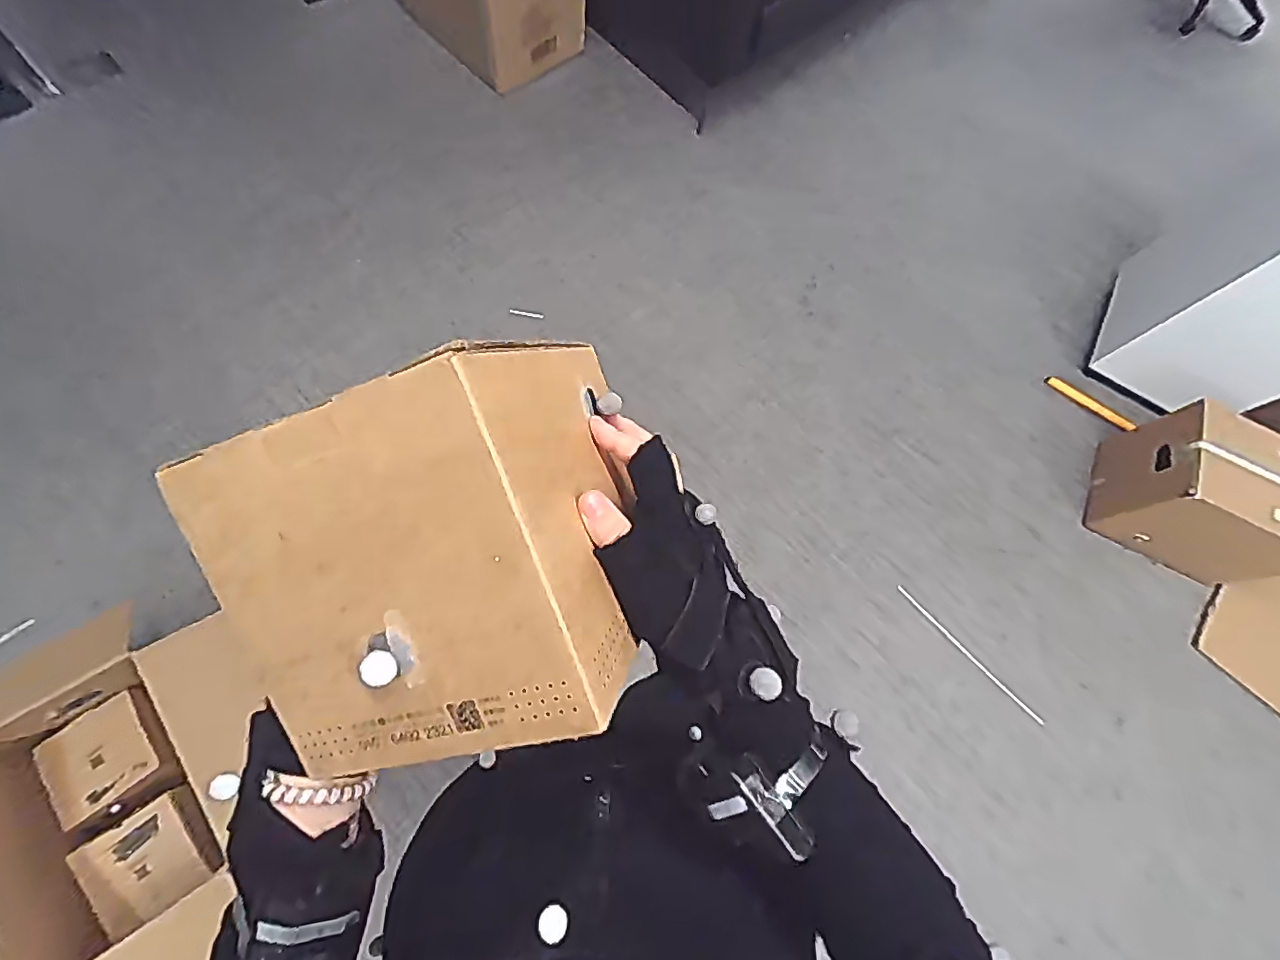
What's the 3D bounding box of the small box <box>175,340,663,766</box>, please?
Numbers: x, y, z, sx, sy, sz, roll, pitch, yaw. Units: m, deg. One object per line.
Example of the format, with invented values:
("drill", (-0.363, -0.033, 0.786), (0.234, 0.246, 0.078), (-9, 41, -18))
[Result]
("small box", (-0.095, 0.028, 0.315), (0.168, 0.179, 0.176), (-17, 100, 16))
